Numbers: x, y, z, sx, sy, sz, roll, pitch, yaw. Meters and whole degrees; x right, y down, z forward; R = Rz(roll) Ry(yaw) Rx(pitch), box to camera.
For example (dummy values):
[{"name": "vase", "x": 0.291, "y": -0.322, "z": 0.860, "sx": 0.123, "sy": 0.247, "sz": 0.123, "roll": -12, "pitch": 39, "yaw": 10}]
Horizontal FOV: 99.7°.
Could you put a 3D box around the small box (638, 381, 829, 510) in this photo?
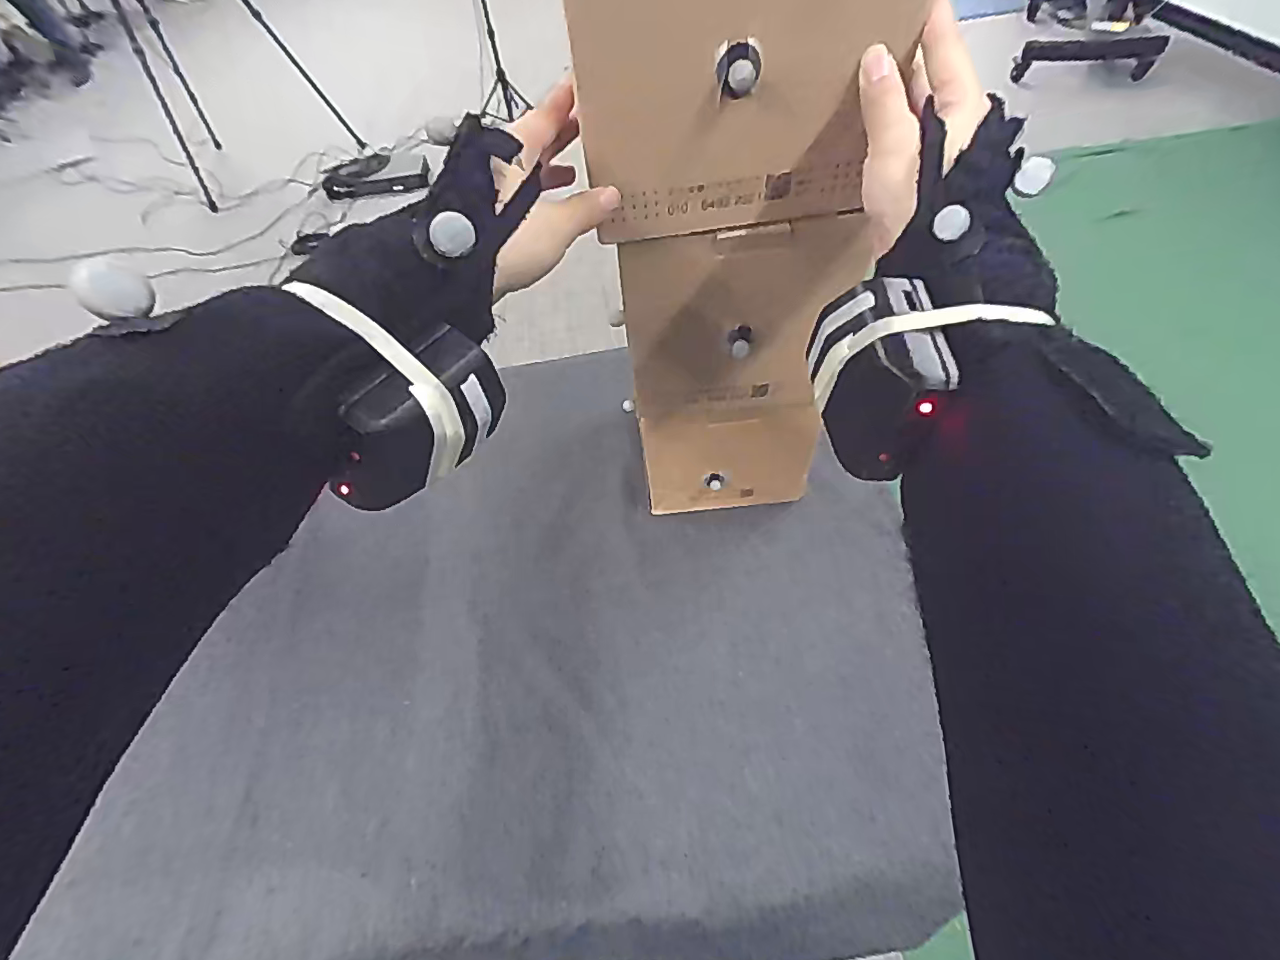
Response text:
[{"name": "small box", "x": 0.081, "y": -0.089, "z": 0.577, "sx": 0.168, "sy": 0.176, "sz": 0.179, "roll": -6, "pitch": 56, "yaw": 1}]

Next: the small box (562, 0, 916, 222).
[{"name": "small box", "x": 0.041, "y": -0.264, "z": 0.300, "sx": 0.168, "sy": 0.176, "sz": 0.179, "roll": -8, "pitch": 55, "yaw": -1}]

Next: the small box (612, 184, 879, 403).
[{"name": "small box", "x": 0.067, "y": -0.176, "z": 0.440, "sx": 0.168, "sy": 0.176, "sz": 0.179, "roll": -6, "pitch": 56, "yaw": 1}]
